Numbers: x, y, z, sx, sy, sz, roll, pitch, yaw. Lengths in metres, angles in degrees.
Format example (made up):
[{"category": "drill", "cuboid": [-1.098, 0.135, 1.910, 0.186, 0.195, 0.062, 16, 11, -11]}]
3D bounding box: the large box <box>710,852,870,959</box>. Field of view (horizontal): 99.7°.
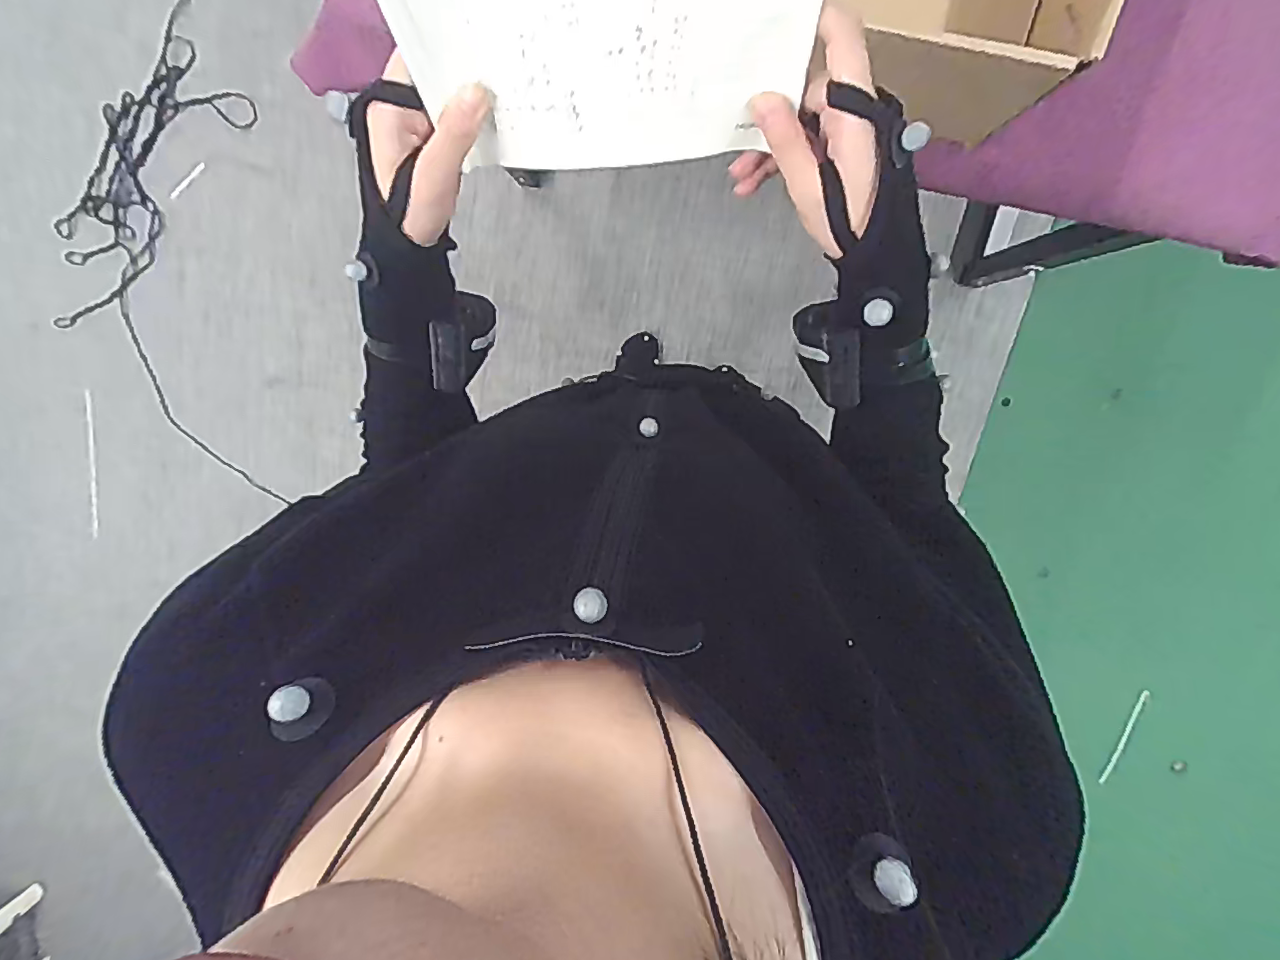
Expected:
[{"category": "large box", "cuboid": [0.421, 1.360, 1.596, 0.408, 0.320, 0.320, -2, 102, 4]}]
